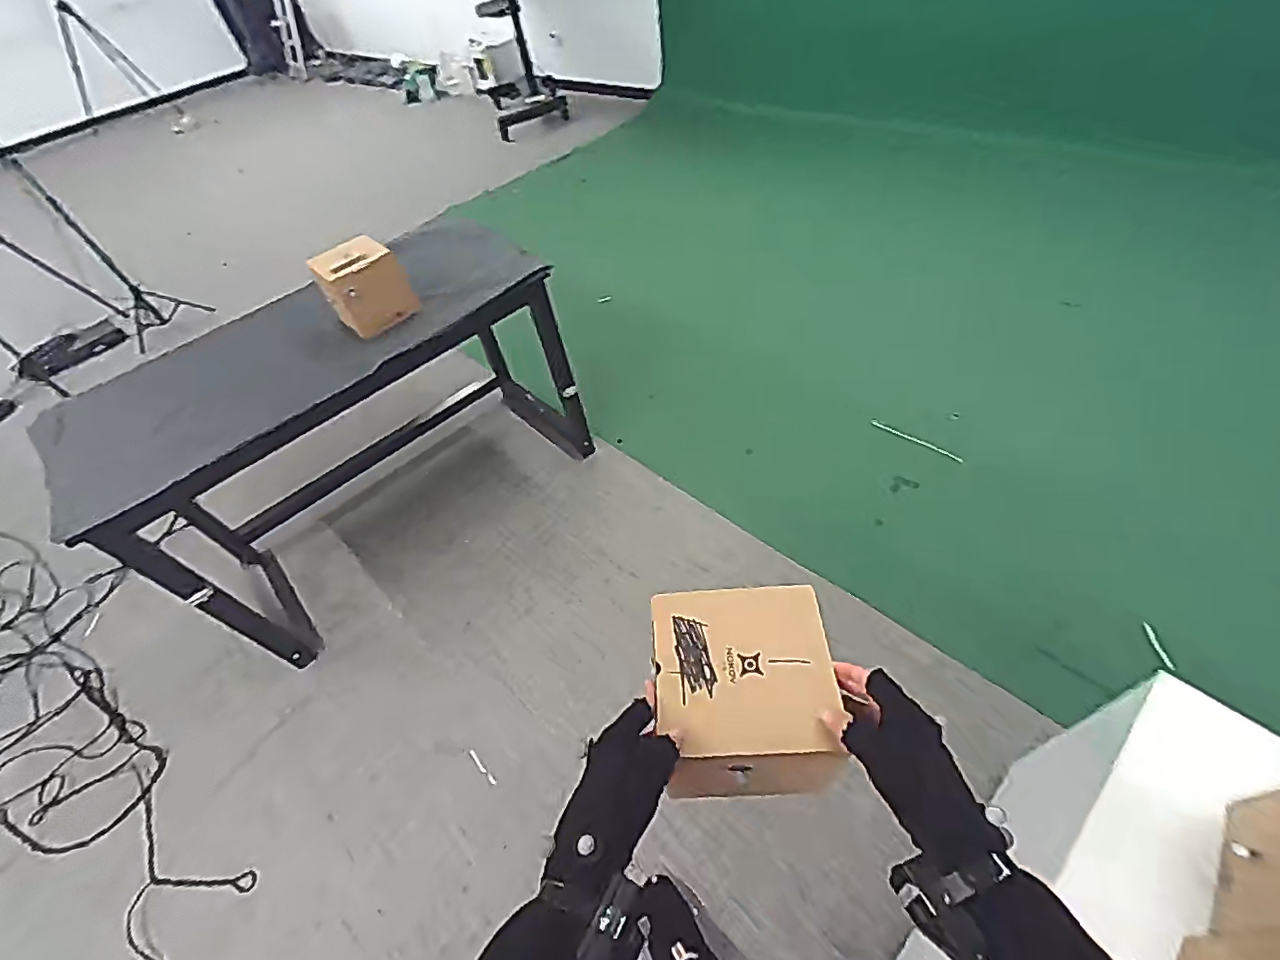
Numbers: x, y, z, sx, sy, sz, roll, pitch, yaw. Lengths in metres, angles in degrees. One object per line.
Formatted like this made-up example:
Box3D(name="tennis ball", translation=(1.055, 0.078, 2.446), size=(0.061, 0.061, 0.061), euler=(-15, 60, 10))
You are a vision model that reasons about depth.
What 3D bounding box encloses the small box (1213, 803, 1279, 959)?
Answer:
Box3D(name="small box", translation=(0.734, 0.436, 0.525), size=(0.179, 0.176, 0.168), euler=(28, 60, 29))
